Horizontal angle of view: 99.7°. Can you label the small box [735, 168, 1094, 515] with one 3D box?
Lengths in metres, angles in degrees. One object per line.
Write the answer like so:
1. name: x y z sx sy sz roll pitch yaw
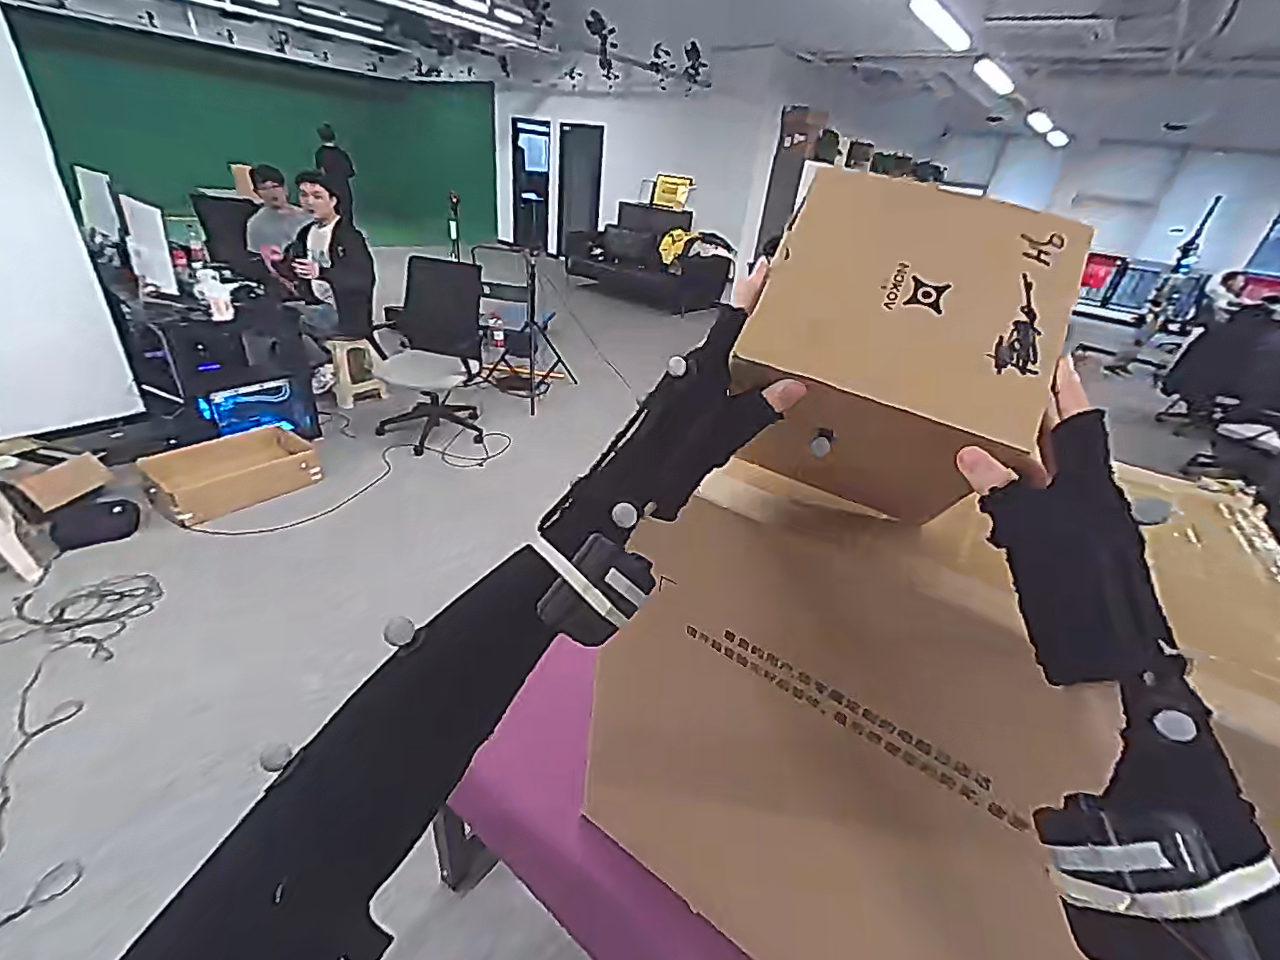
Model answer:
1. small box: 0.181 -0.092 0.409 0.179 0.176 0.168 22 74 16
